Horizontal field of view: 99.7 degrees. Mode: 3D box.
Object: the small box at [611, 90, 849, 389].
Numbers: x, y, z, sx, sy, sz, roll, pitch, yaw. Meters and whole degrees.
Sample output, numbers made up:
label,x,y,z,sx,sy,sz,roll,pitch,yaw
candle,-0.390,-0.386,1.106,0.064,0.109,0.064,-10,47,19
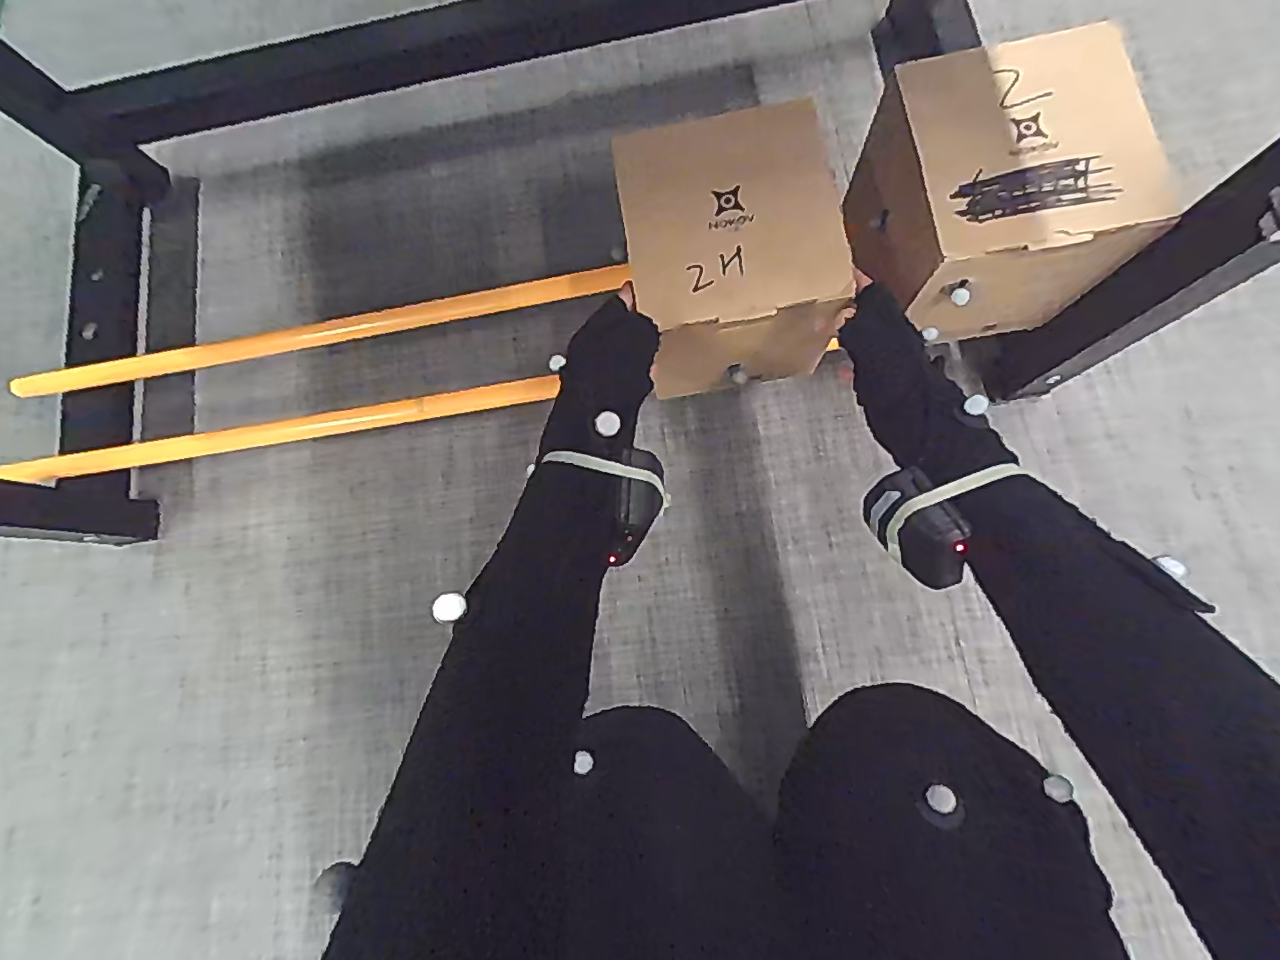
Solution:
label,x,y,z,sx,sy,sz,roll,pitch,yaw
small box,0.074,-0.203,0.502,0.168,0.176,0.179,-9,80,6
